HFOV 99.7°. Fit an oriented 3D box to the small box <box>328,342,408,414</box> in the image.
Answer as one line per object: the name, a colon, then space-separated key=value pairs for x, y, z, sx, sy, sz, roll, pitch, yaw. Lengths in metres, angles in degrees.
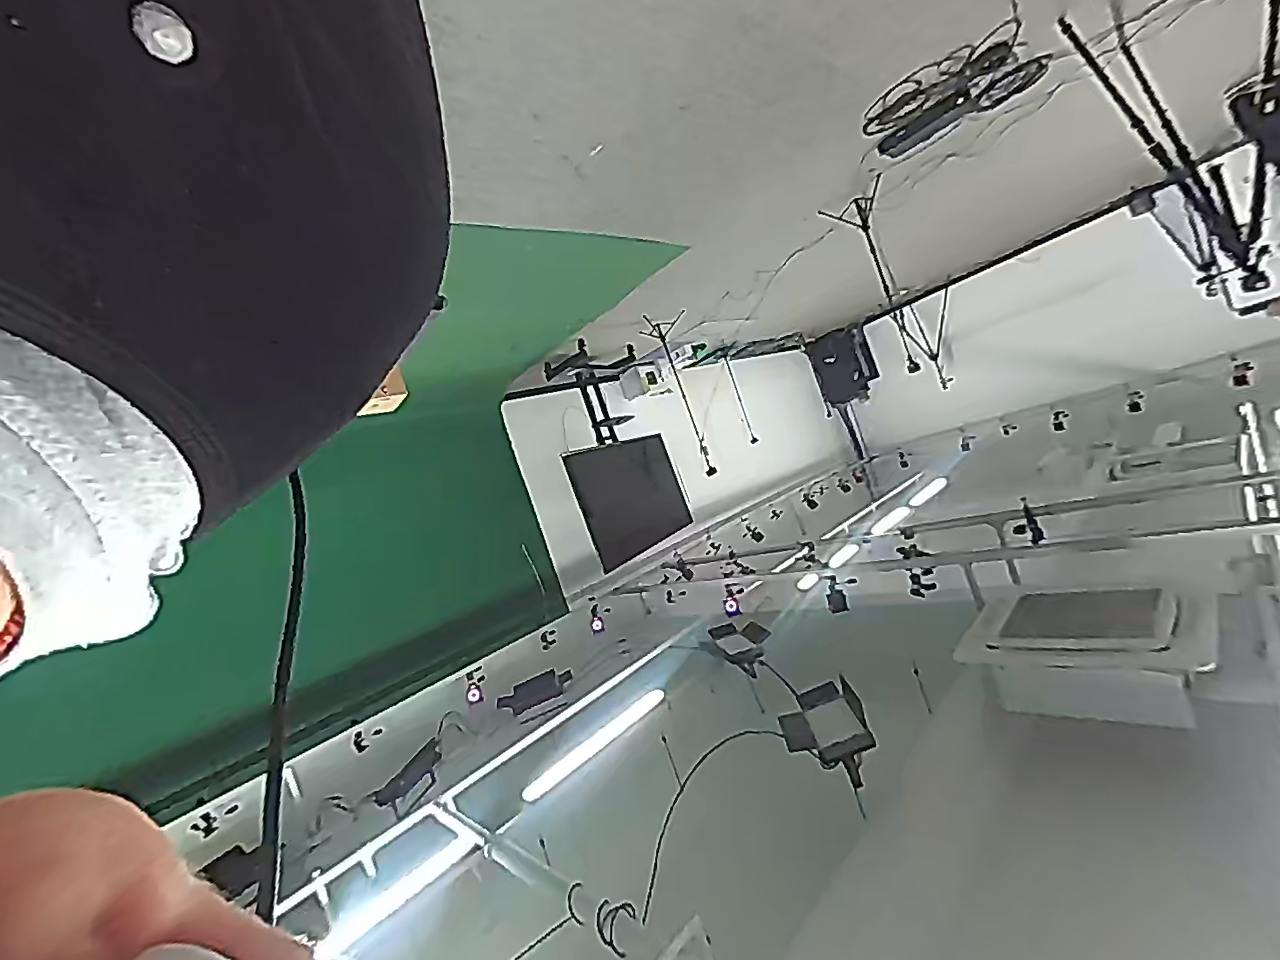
small box: x=-0.869 y=-0.325 z=1.717 sx=0.168 sy=0.176 sz=0.179 roll=-21 pitch=-177 yaw=-40
